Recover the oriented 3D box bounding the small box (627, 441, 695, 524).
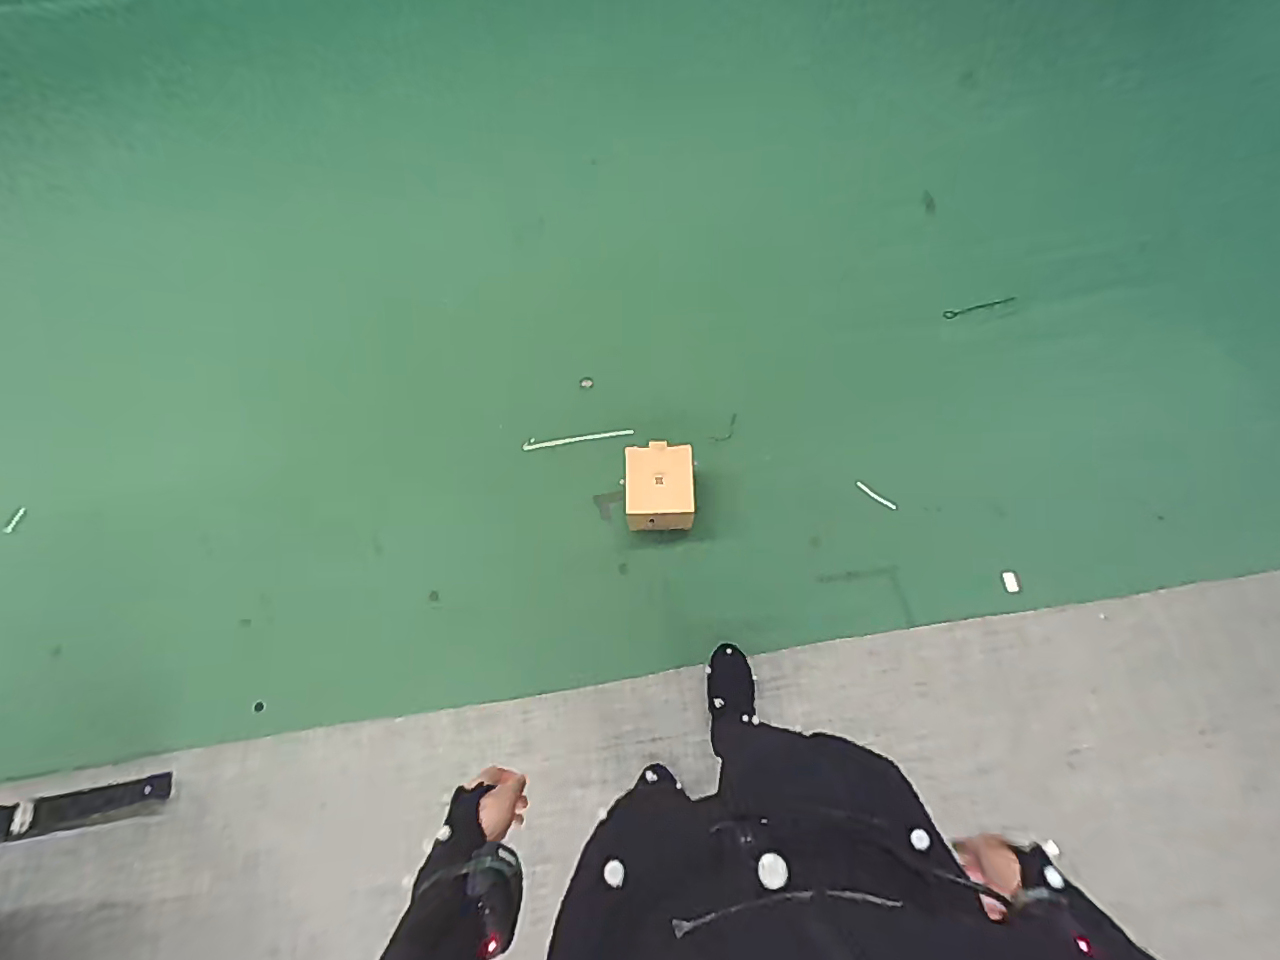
[{"bbox_3d":[0.055,0.014,1.386,0.168,0.176,0.179,-2,70,2],"label":"small box"}]
